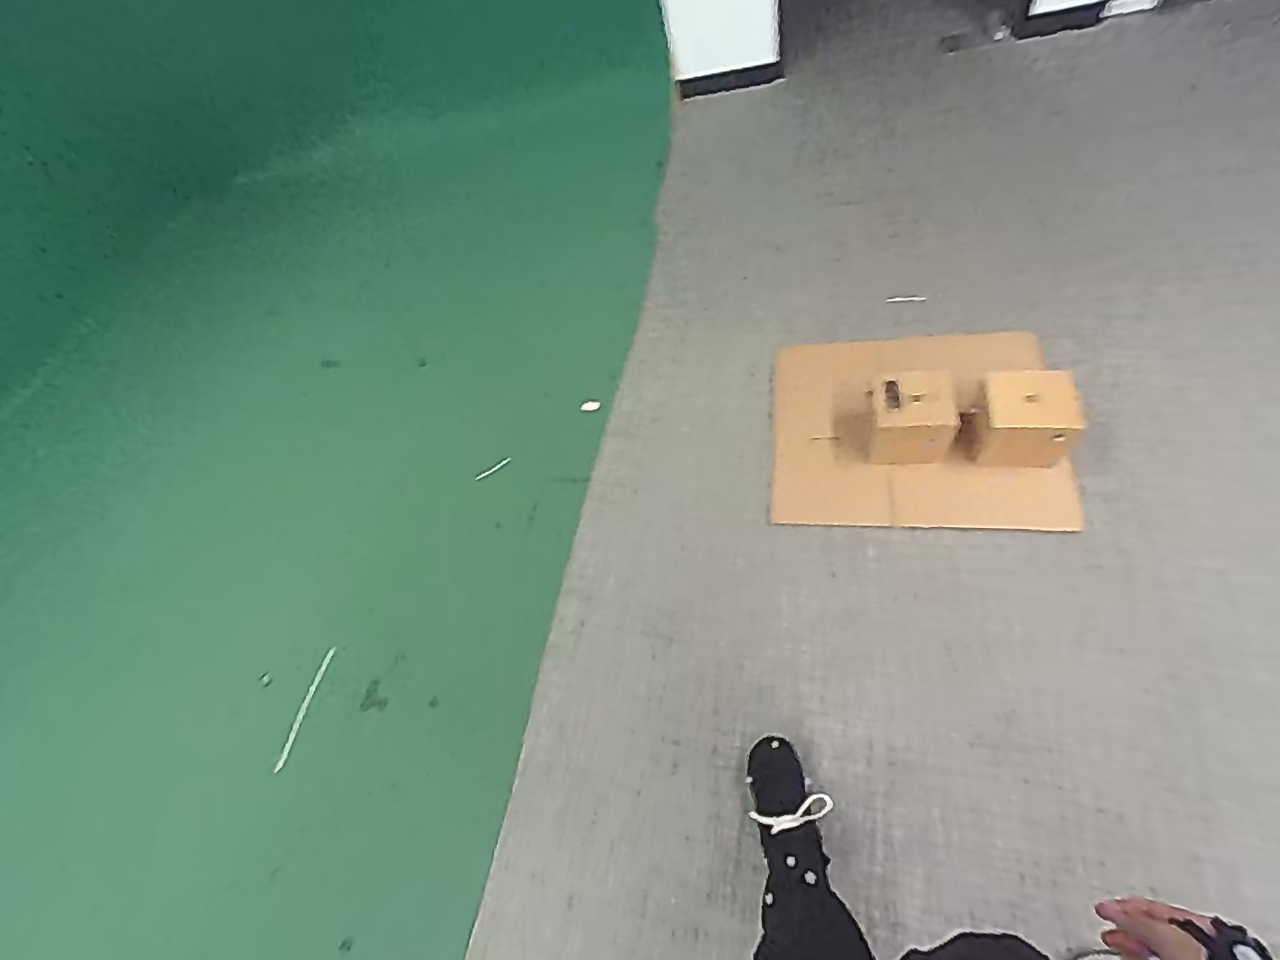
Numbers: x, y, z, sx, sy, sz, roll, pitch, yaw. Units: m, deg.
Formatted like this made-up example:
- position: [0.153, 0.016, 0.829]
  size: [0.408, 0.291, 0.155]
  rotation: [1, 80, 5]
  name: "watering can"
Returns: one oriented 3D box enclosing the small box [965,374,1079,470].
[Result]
- position: [0.898, -0.136, 1.294]
  size: [0.179, 0.176, 0.168]
  rotation: [2, 60, 16]
  name: "small box"
